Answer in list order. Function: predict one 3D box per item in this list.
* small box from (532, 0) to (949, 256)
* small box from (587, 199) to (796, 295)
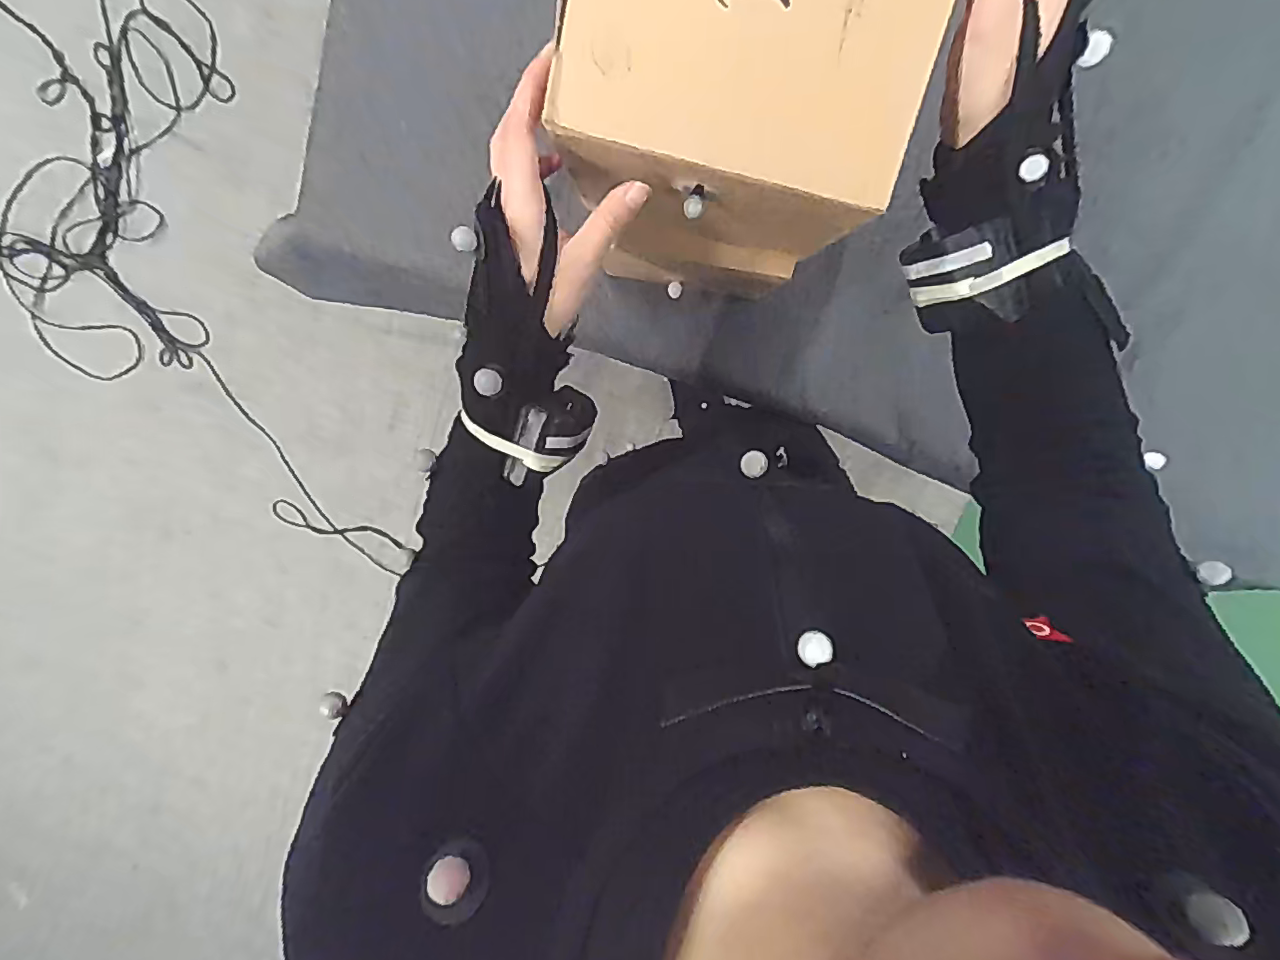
[{"bbox_3d":[0.056,-0.245,0.318,0.179,0.176,0.168,15,105,-1],"label":"small box"},{"bbox_3d":[0.055,-0.274,0.480,0.168,0.176,0.179,10,104,0],"label":"small box"}]
